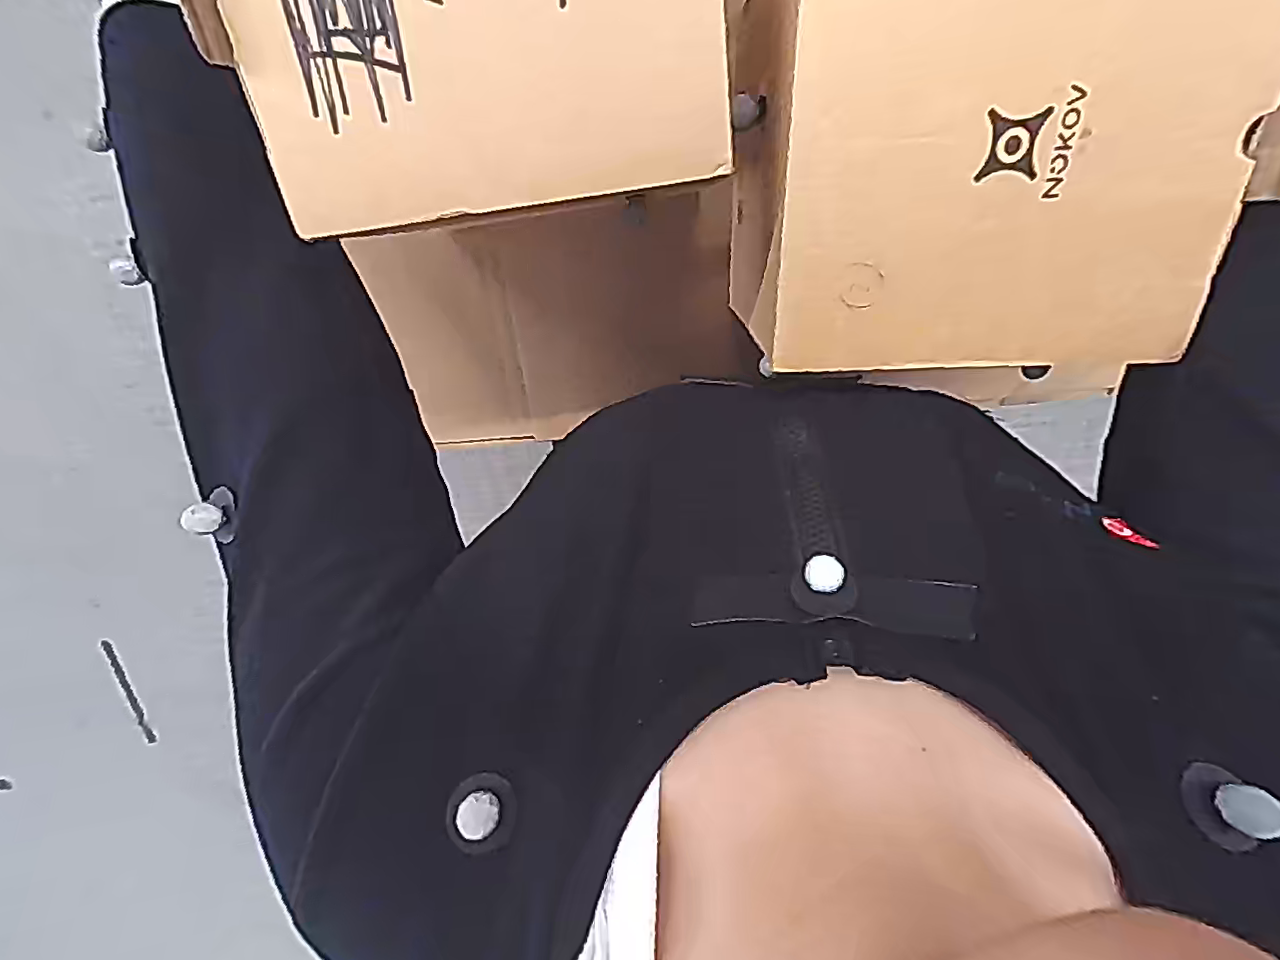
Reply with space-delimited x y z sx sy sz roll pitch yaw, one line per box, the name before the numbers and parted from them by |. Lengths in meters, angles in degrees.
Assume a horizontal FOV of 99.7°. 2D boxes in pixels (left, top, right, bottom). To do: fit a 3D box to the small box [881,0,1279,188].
small box | 0.237 -0.227 0.219 0.179 0.176 0.168 11 123 -4
